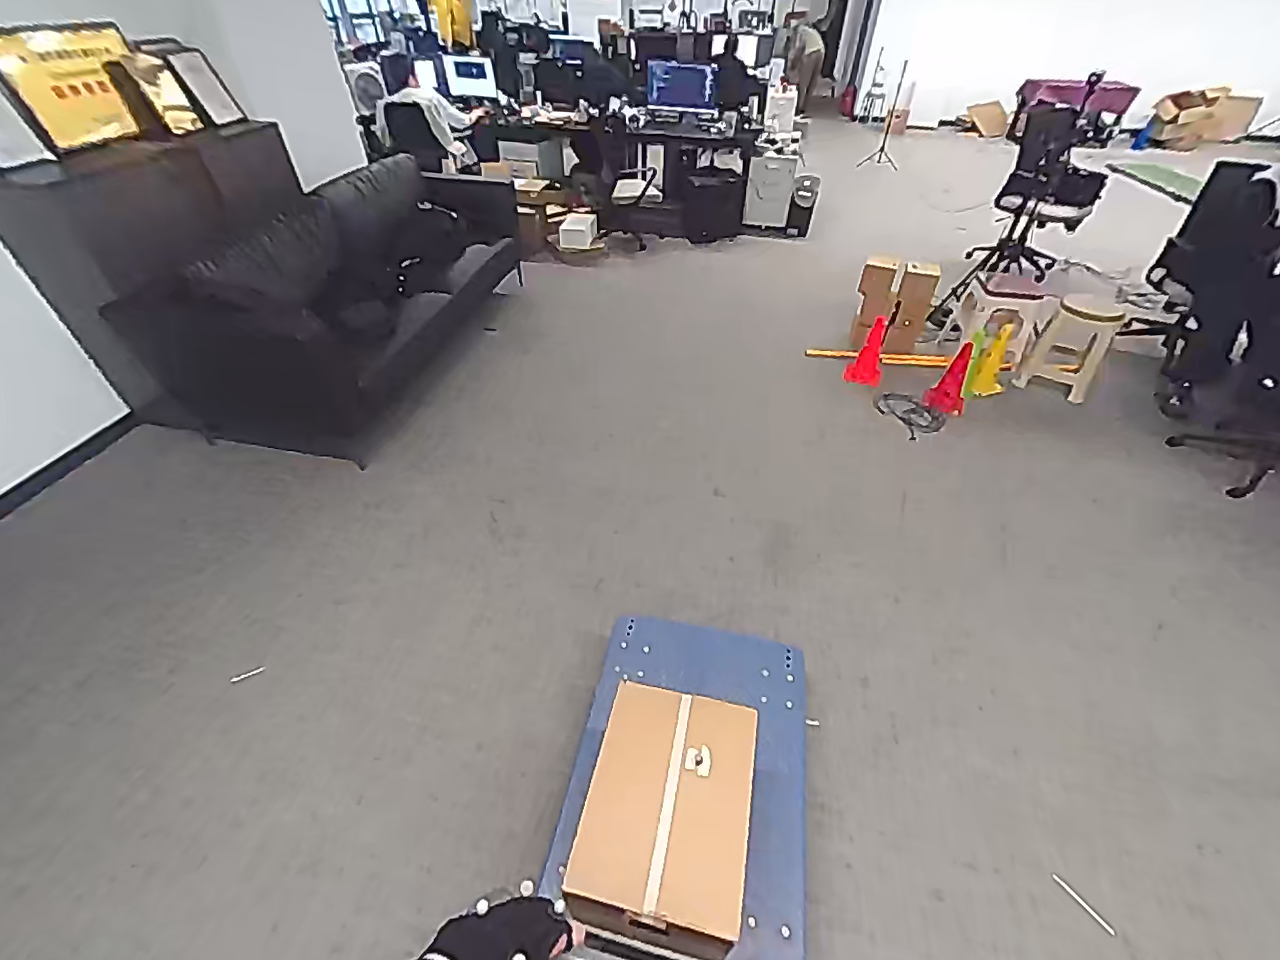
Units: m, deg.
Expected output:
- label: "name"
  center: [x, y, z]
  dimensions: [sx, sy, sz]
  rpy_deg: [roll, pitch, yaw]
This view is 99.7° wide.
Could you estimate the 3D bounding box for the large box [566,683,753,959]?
- label: "large box"
  center: [0.058, 0.723, 1.160]
  dimensions: [0.320, 0.320, 0.408]
  rpy_deg: [9, 41, 9]
